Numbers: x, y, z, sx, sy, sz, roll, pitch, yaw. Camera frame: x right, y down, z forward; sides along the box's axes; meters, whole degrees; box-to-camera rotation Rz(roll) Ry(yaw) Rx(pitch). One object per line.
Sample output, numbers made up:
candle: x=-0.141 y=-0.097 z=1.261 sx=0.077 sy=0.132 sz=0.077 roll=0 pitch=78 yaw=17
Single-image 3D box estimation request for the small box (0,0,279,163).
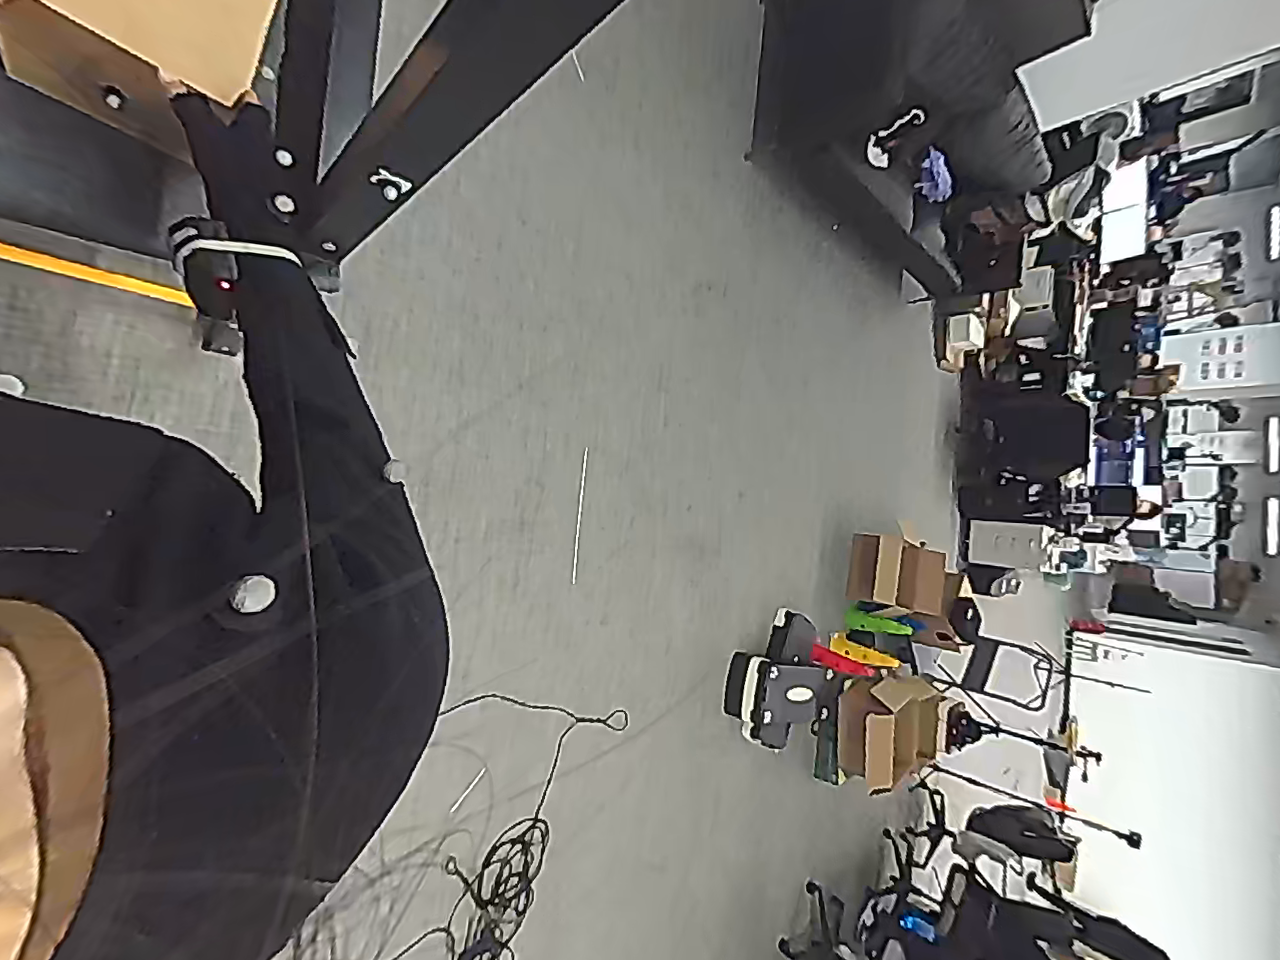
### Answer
small box: x=-0.471 y=-0.452 z=0.522 sx=0.168 sy=0.176 sz=0.179 roll=18 pitch=80 yaw=-44
